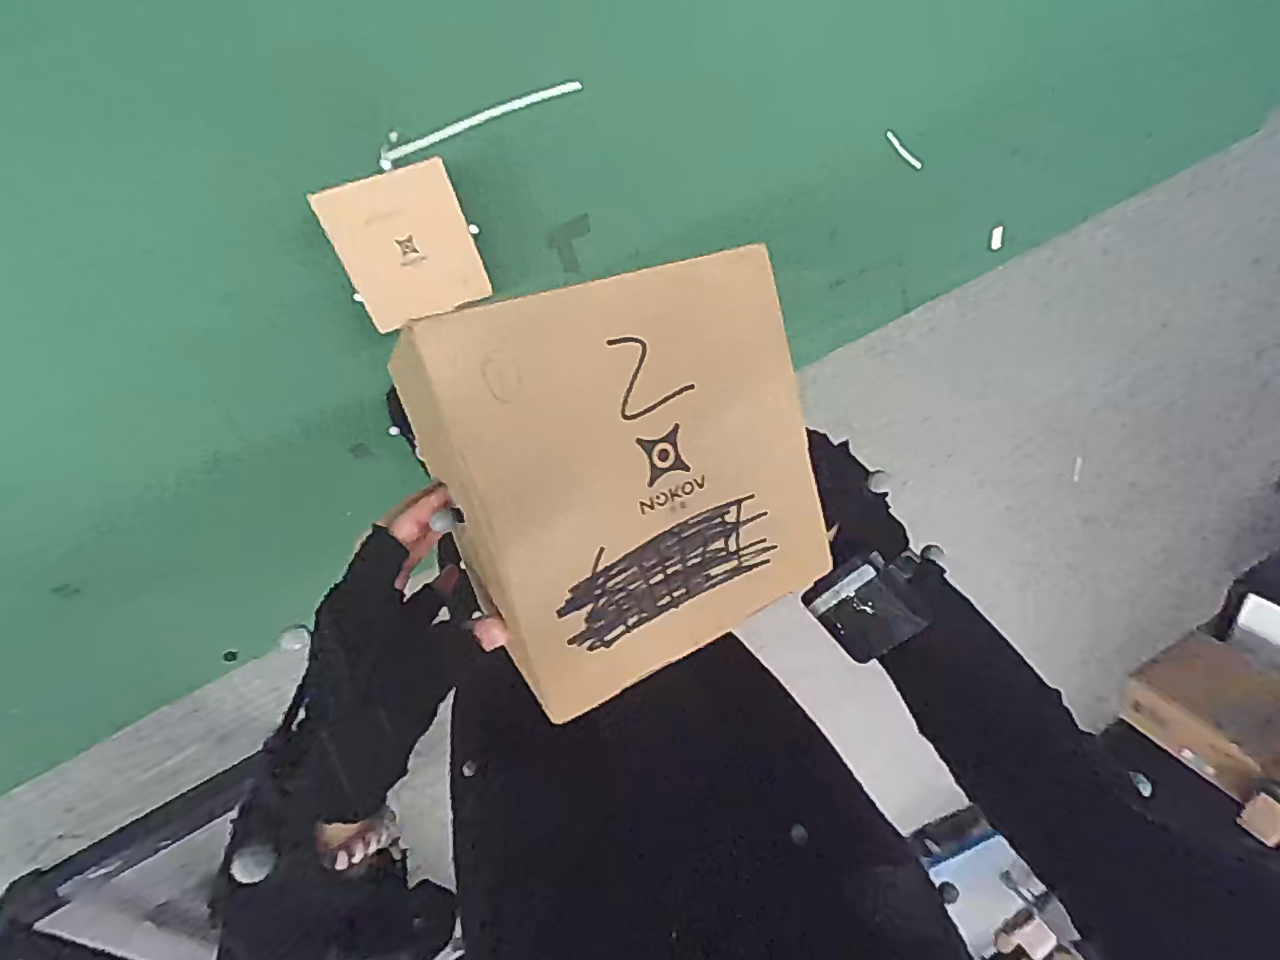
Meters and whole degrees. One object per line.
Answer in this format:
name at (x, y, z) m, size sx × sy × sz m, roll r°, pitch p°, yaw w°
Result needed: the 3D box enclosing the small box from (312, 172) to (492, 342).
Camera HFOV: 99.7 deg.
small box at (-0.331, -0.324, 0.775) m, size 0.168 × 0.176 × 0.179 m, roll -25°, pitch 124°, yaw -11°
